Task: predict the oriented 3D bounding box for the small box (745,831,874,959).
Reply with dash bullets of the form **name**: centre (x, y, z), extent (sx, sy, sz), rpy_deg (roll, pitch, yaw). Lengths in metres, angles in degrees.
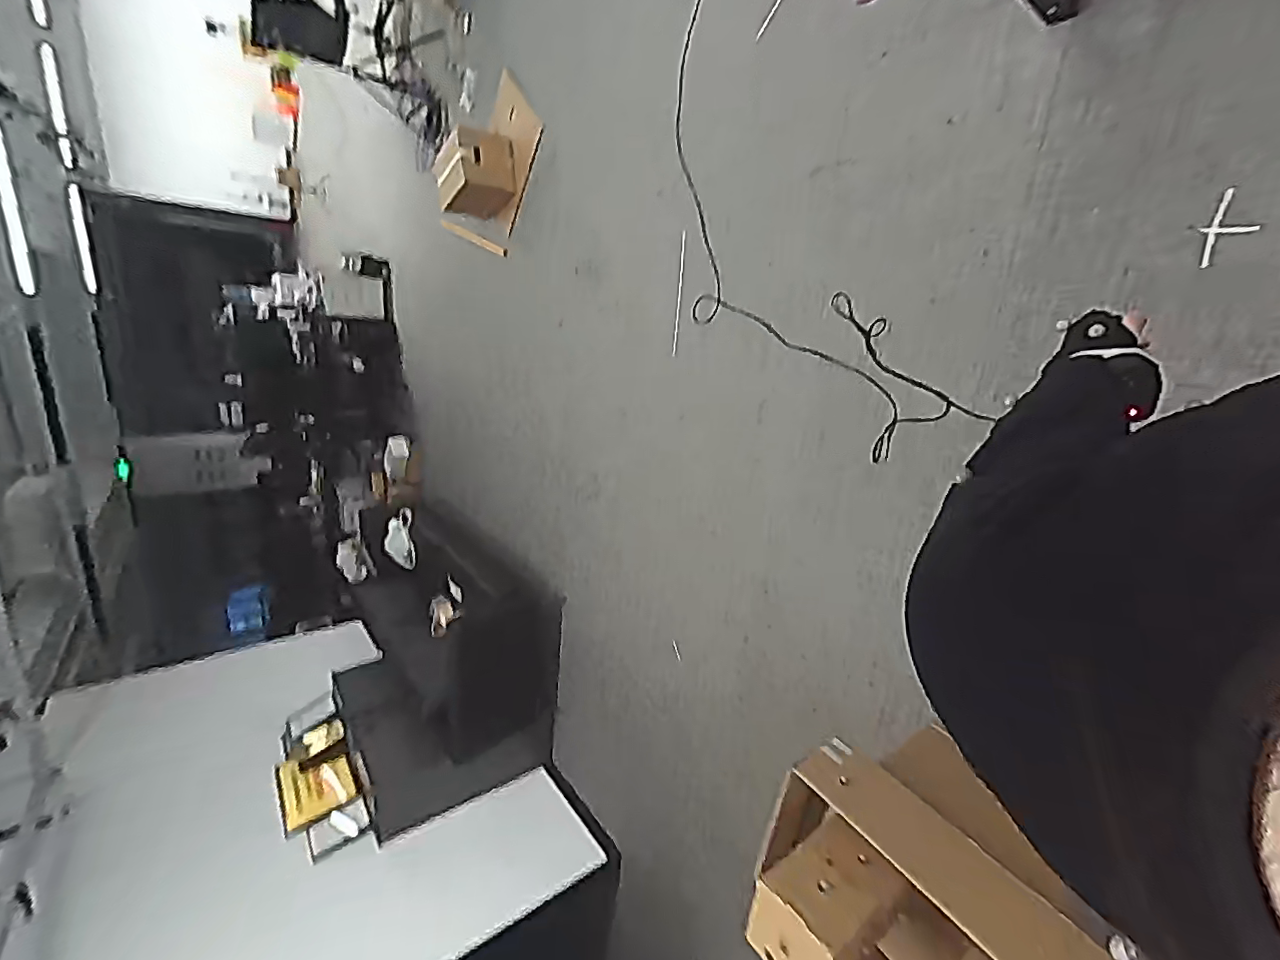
- **small box**: centre (0.340, 0.857, 1.079), extent (0.168, 0.176, 0.179), rpy_deg (27, 117, 46)
